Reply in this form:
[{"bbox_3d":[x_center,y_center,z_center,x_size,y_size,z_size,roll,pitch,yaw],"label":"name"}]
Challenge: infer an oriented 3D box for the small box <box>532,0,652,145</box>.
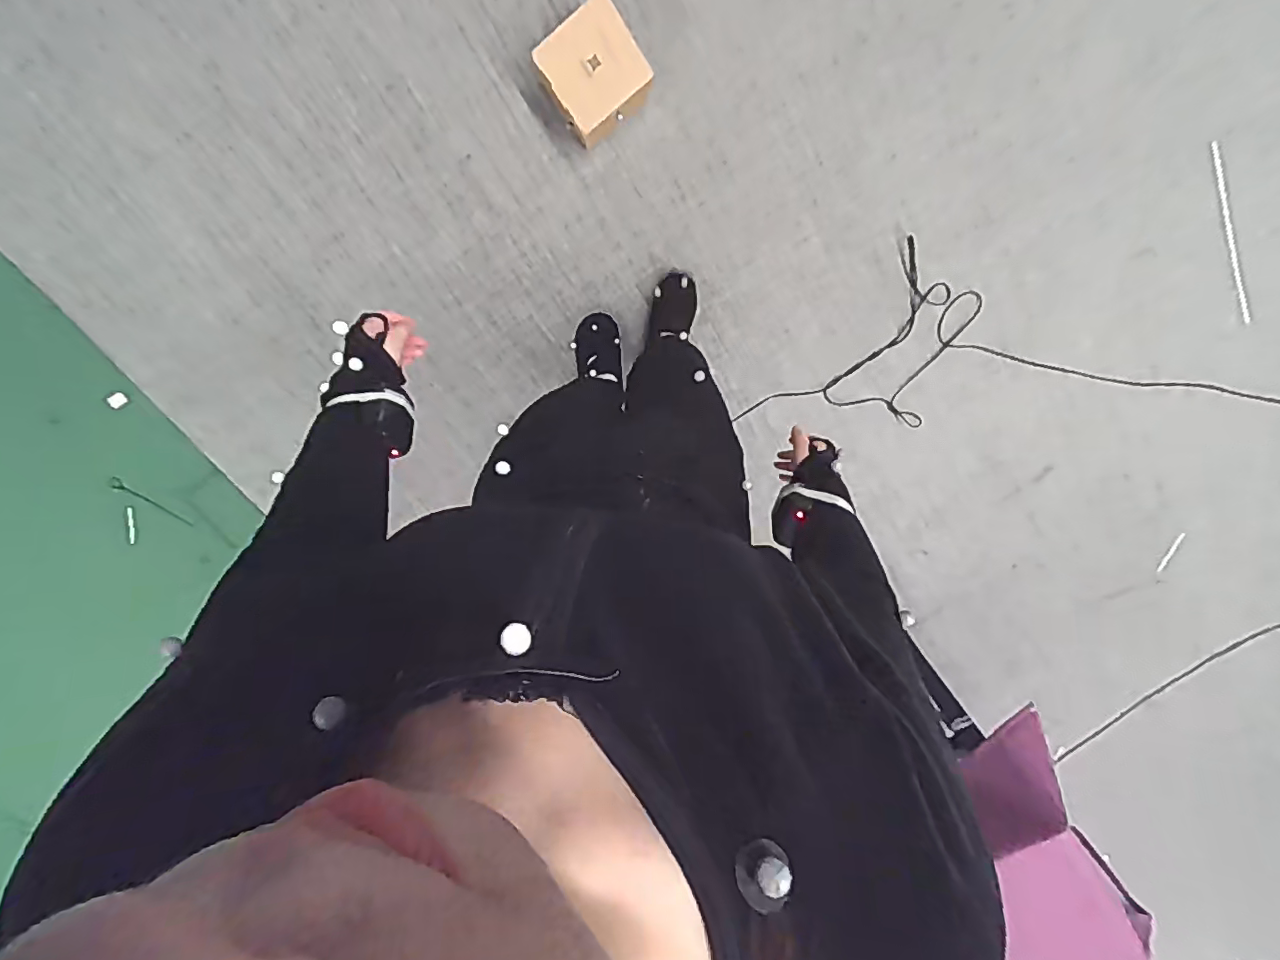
[{"bbox_3d":[-0.092,-0.819,1.100,0.179,0.176,0.168,-33,111,11],"label":"small box"}]
